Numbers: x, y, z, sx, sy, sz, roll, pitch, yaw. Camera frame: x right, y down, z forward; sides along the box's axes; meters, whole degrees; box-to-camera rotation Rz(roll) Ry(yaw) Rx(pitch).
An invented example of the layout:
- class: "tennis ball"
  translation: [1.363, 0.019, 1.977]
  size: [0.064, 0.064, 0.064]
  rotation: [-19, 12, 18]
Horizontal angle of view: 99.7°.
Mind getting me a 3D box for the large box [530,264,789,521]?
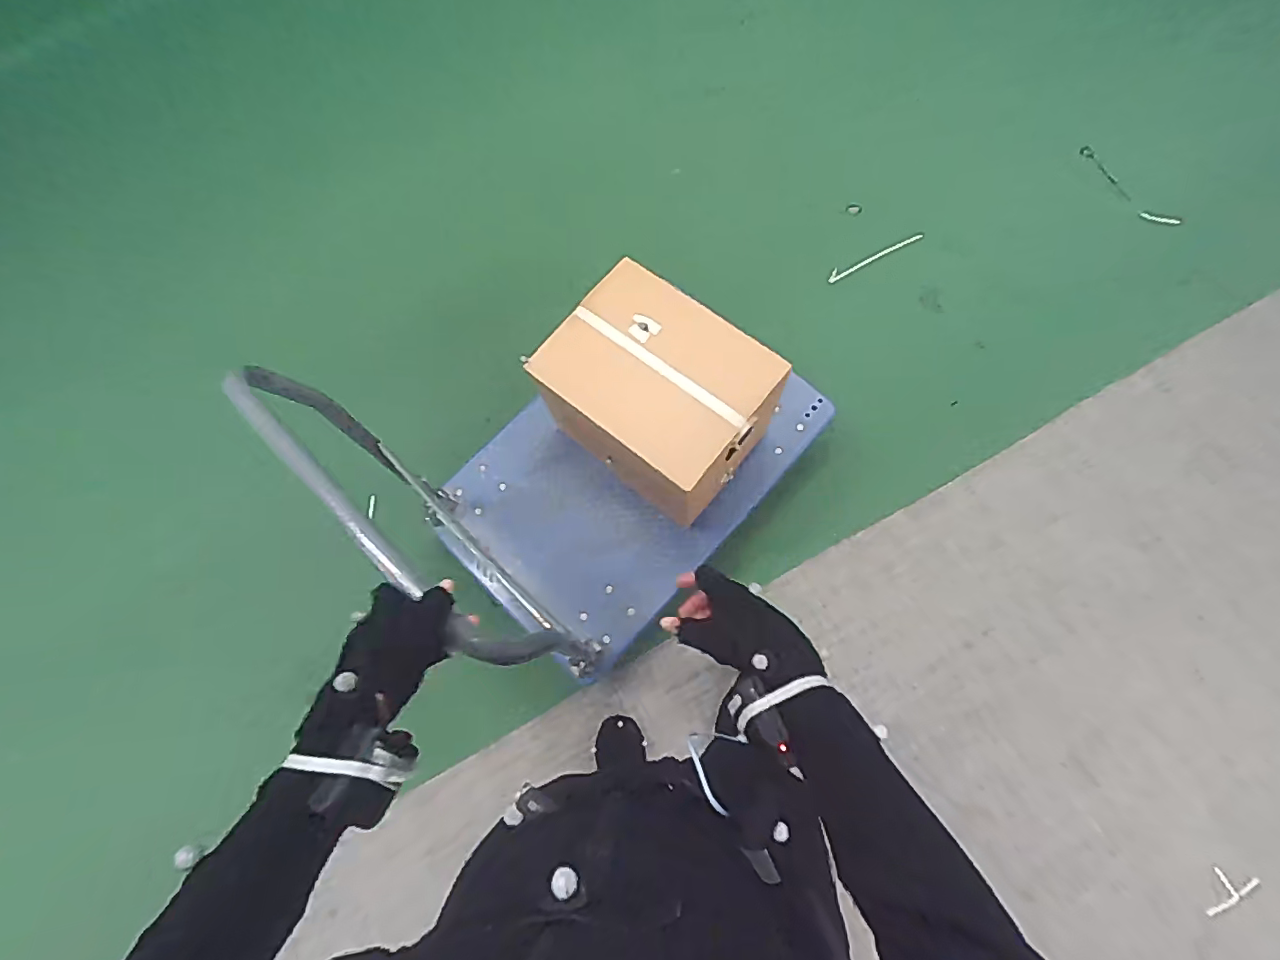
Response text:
- class: "large box"
  translation: [0.048, -0.169, 1.163]
  size: [0.408, 0.320, 0.320]
  rotation: [36, 79, 15]
